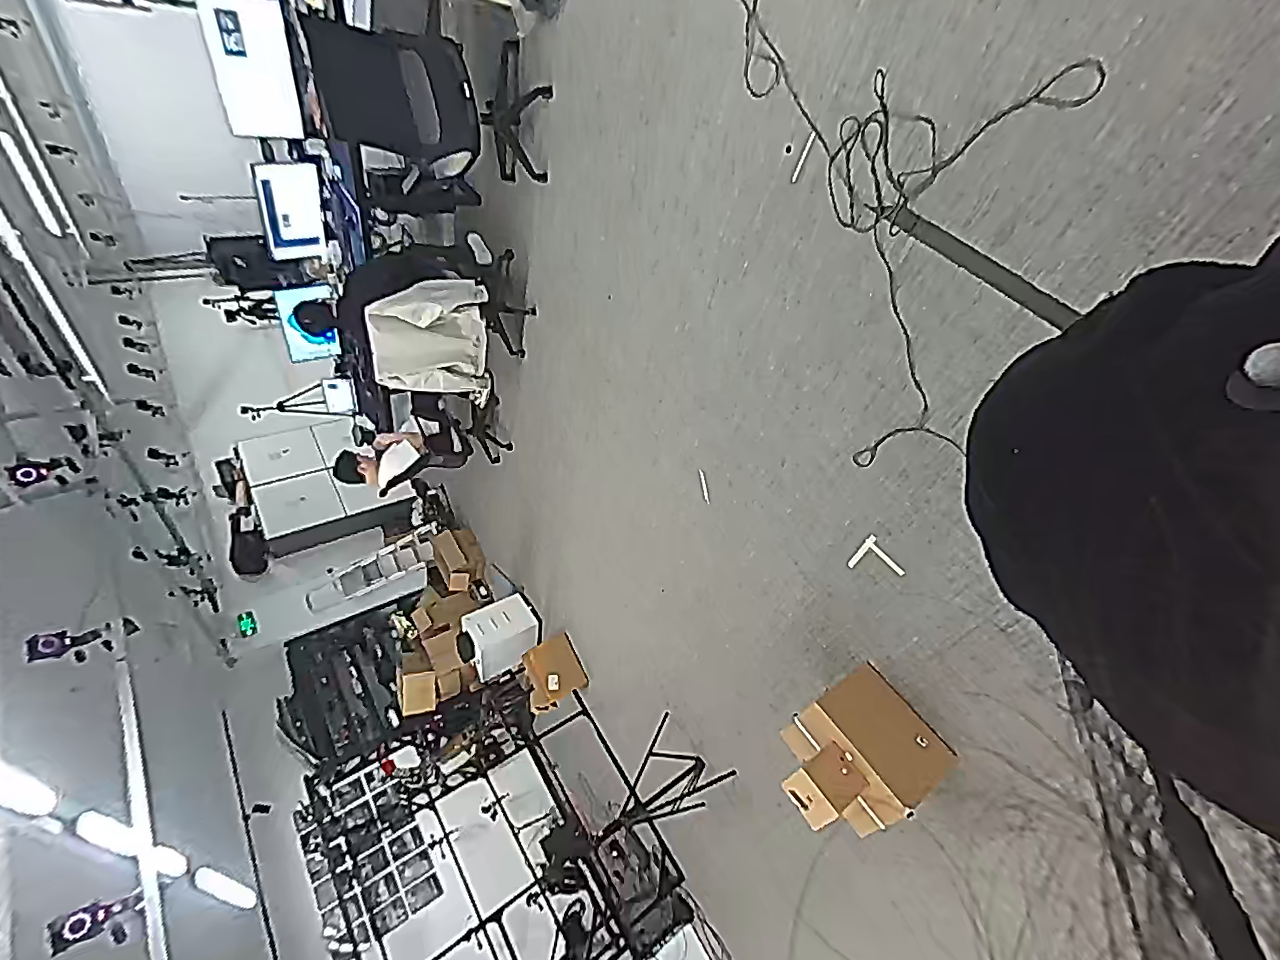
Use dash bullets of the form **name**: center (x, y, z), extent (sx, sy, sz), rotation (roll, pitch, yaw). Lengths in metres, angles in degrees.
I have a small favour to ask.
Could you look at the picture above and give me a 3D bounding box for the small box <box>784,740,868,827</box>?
- **small box**: center (0.616, 0.999, 1.786), extent (0.168, 0.176, 0.179), rotation (49, 141, 30)
